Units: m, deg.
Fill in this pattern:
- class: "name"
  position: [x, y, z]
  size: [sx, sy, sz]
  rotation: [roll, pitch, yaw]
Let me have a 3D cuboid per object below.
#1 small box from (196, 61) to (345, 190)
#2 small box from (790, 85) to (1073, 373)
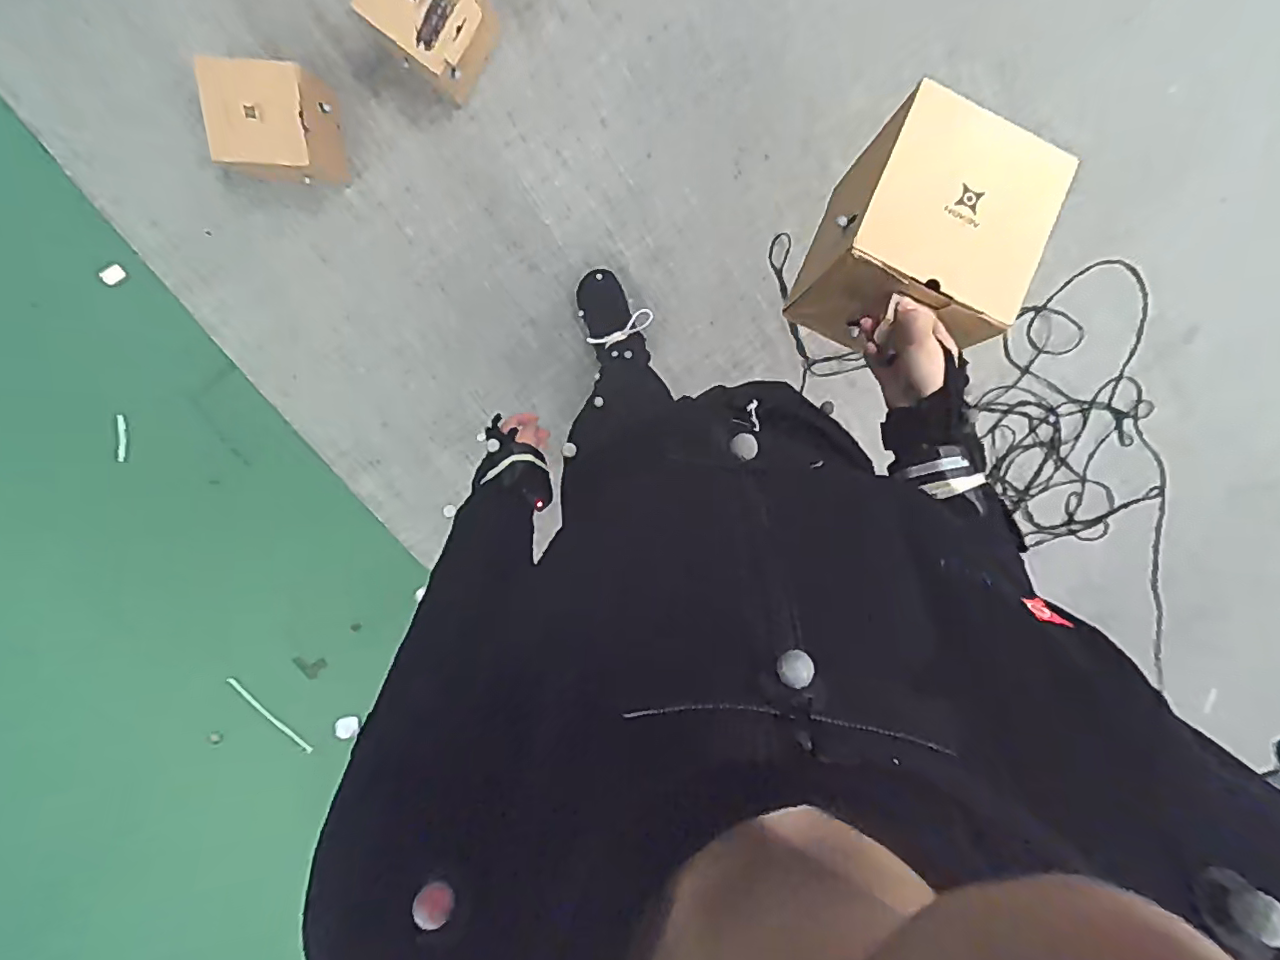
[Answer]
- class: "small box"
  position: [-0.692, -0.670, 1.041]
  size: [0.179, 0.176, 0.168]
  rotation: [1, 106, -3]
- class: "small box"
  position: [0.279, -0.237, 0.557]
  size: [0.168, 0.176, 0.179]
  rotation: [24, 85, -5]
